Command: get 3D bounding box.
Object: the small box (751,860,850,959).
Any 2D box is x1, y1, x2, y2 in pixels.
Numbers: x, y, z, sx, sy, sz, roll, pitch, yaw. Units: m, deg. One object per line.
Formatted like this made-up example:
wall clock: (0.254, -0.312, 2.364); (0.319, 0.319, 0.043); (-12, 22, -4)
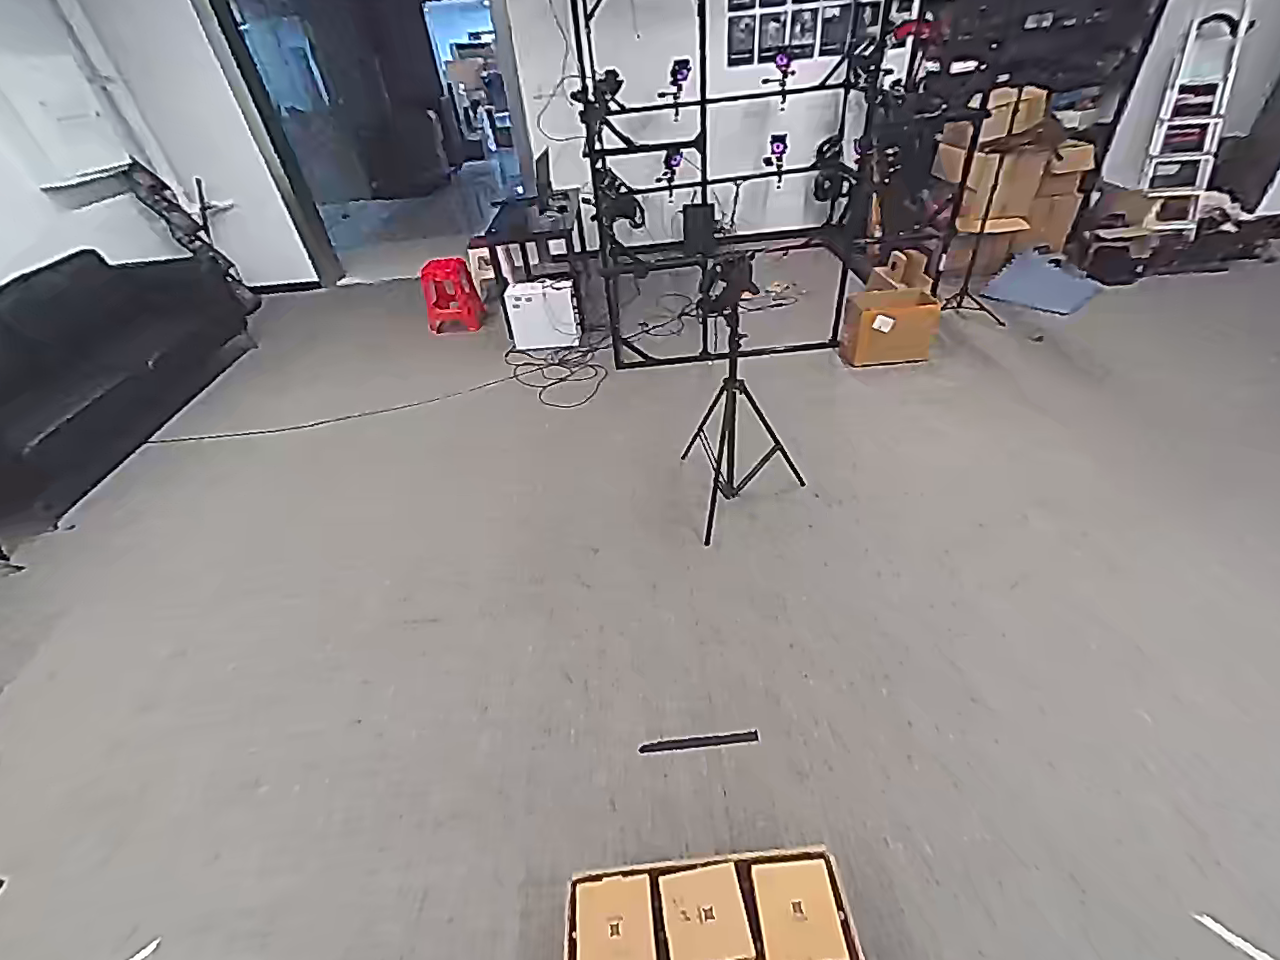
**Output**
small box: (0.342, 0.970, 1.191); (0.168, 0.176, 0.179); (-7, 42, 2)
